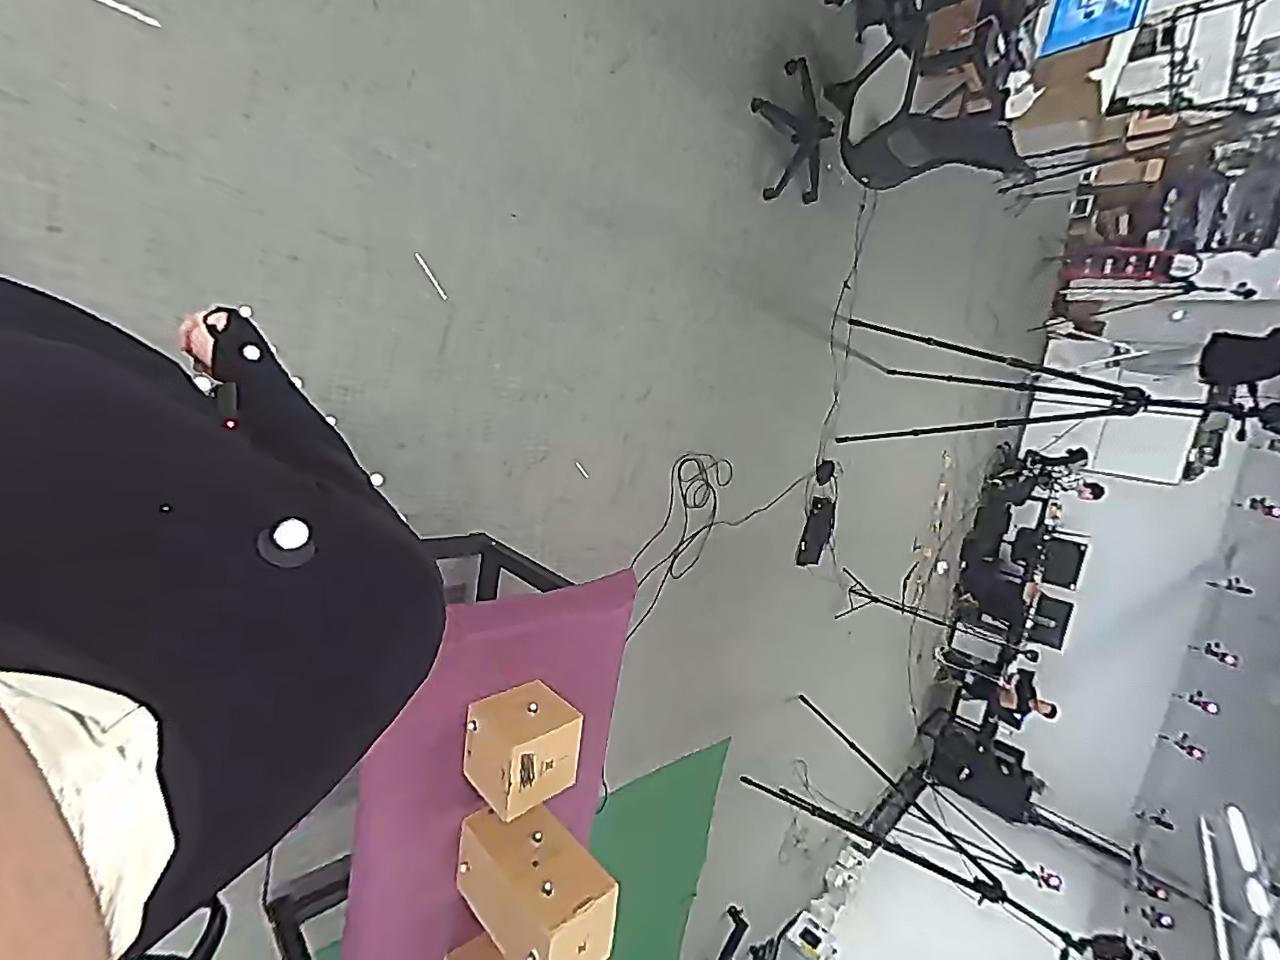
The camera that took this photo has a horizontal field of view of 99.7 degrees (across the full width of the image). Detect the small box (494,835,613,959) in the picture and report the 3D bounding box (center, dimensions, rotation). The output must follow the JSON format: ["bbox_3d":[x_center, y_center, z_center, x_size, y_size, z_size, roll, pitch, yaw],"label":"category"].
[{"bbox_3d":[-0.176,0.857,1.080,0.168,0.176,0.179,-3,104,-45],"label":"small box"}]

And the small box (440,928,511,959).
[{"bbox_3d":[-0.350,1.162,1.238,0.179,0.176,0.168,6,98,-47],"label":"small box"}]

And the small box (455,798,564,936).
[{"bbox_3d":[-0.292,0.824,1.191,0.168,0.176,0.179,-3,105,-46],"label":"small box"}]

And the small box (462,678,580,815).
[{"bbox_3d":[-0.254,0.548,1.139,0.179,0.176,0.168,-3,105,-47],"label":"small box"}]
